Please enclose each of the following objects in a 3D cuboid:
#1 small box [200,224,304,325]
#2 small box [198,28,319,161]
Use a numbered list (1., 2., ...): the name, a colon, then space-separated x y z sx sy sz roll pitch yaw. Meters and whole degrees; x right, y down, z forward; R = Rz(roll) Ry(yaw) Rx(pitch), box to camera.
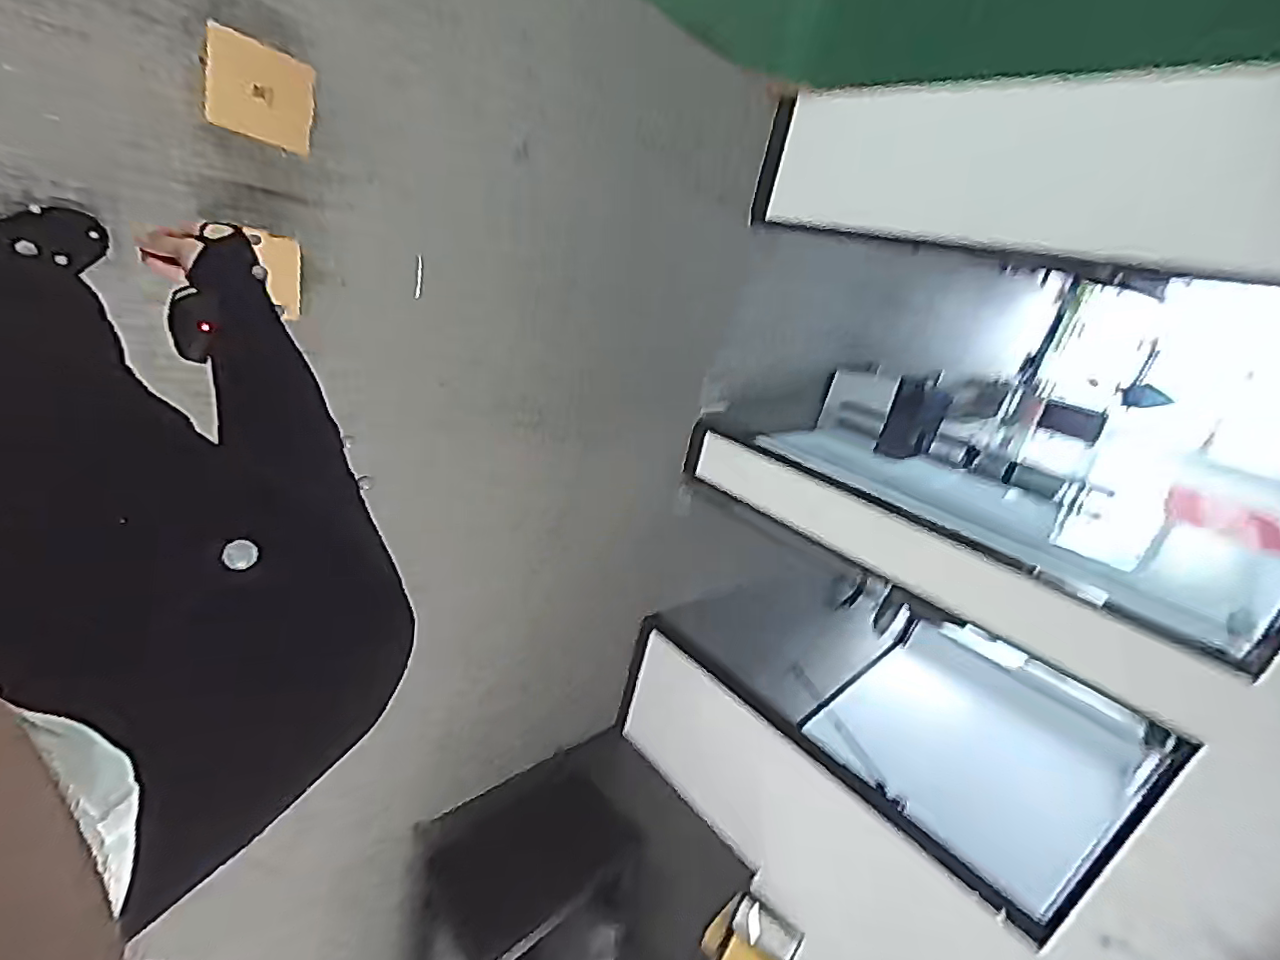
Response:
1. small box: -0.876 -0.464 1.219 0.168 0.176 0.179 -6 117 -45
2. small box: -0.790 -0.780 1.115 0.179 0.176 0.168 -3 115 -47
